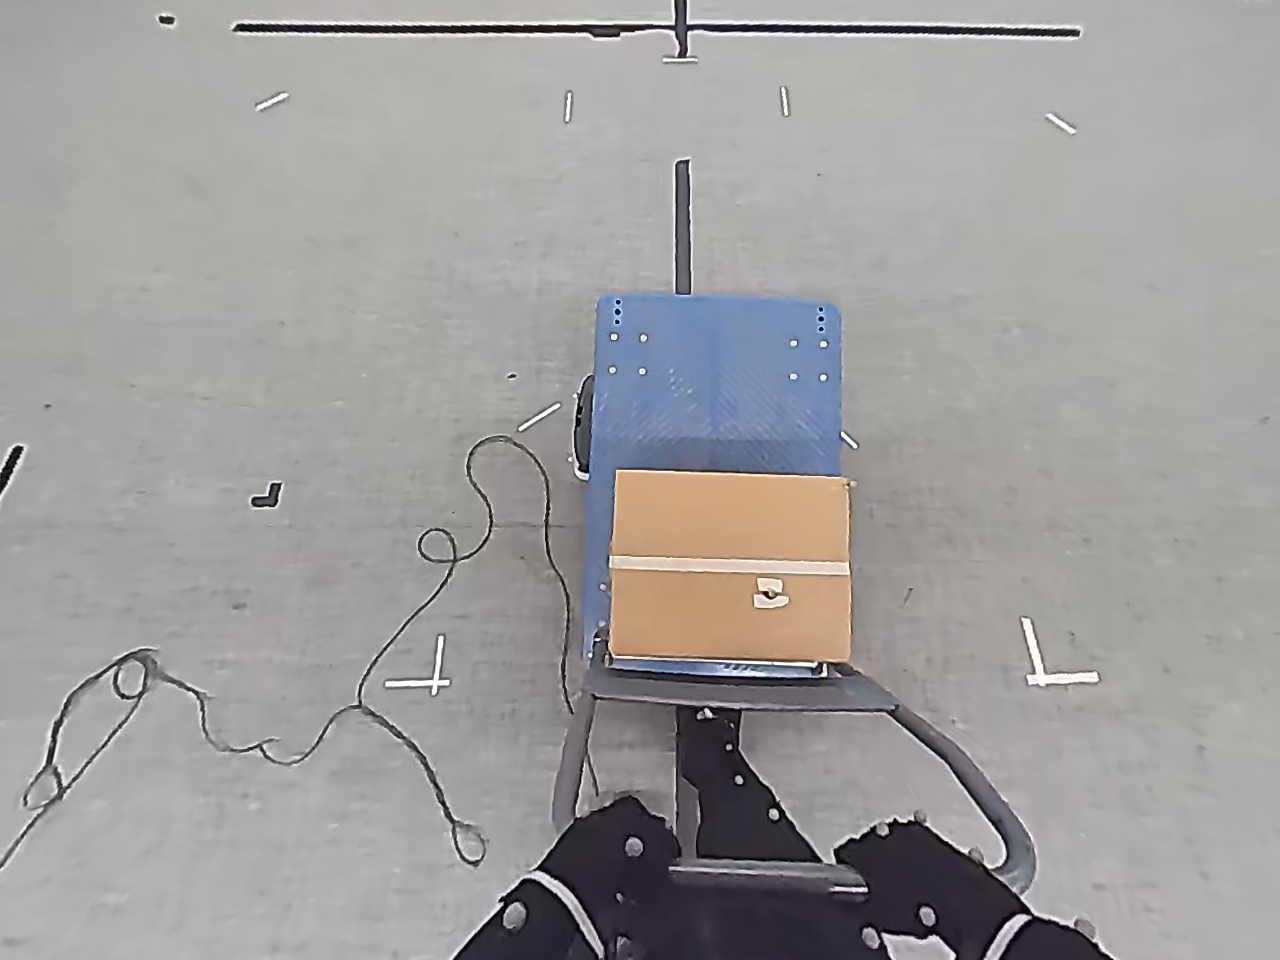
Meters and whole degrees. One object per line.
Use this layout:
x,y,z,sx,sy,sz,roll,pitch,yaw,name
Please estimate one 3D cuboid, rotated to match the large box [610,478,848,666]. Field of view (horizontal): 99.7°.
0.147,0.170,1.059,0.408,0.320,0.320,2,85,-1,large box
